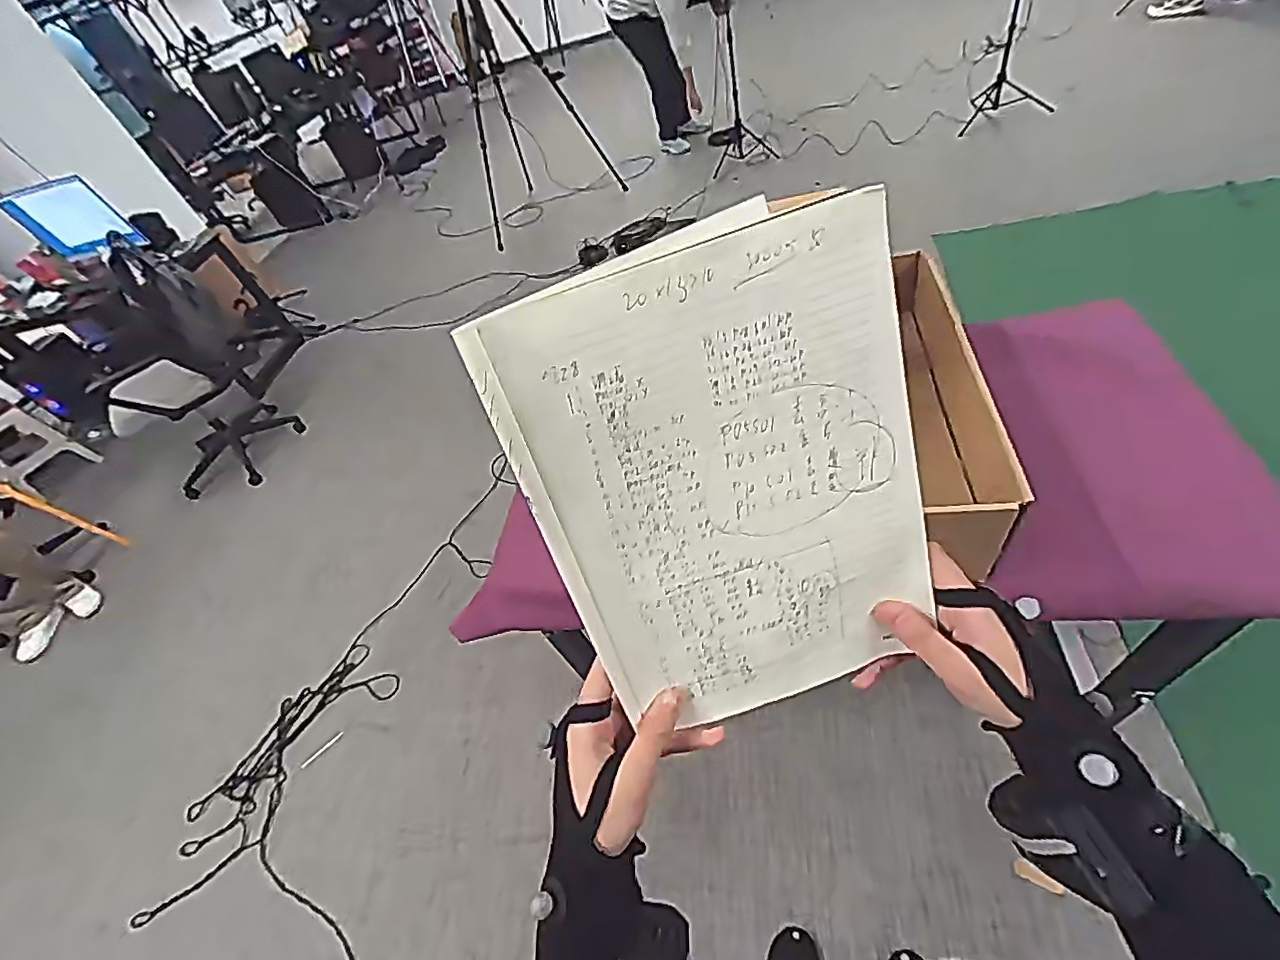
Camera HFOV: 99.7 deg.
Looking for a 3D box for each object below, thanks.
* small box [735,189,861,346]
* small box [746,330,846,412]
[{"bbox_3d":[0.255,-0.339,0.884,0.179,0.176,0.168,-5,50,14],"label":"small box"},{"bbox_3d":[0.290,-0.240,1.007,0.168,0.176,0.179,-3,51,16],"label":"small box"}]
